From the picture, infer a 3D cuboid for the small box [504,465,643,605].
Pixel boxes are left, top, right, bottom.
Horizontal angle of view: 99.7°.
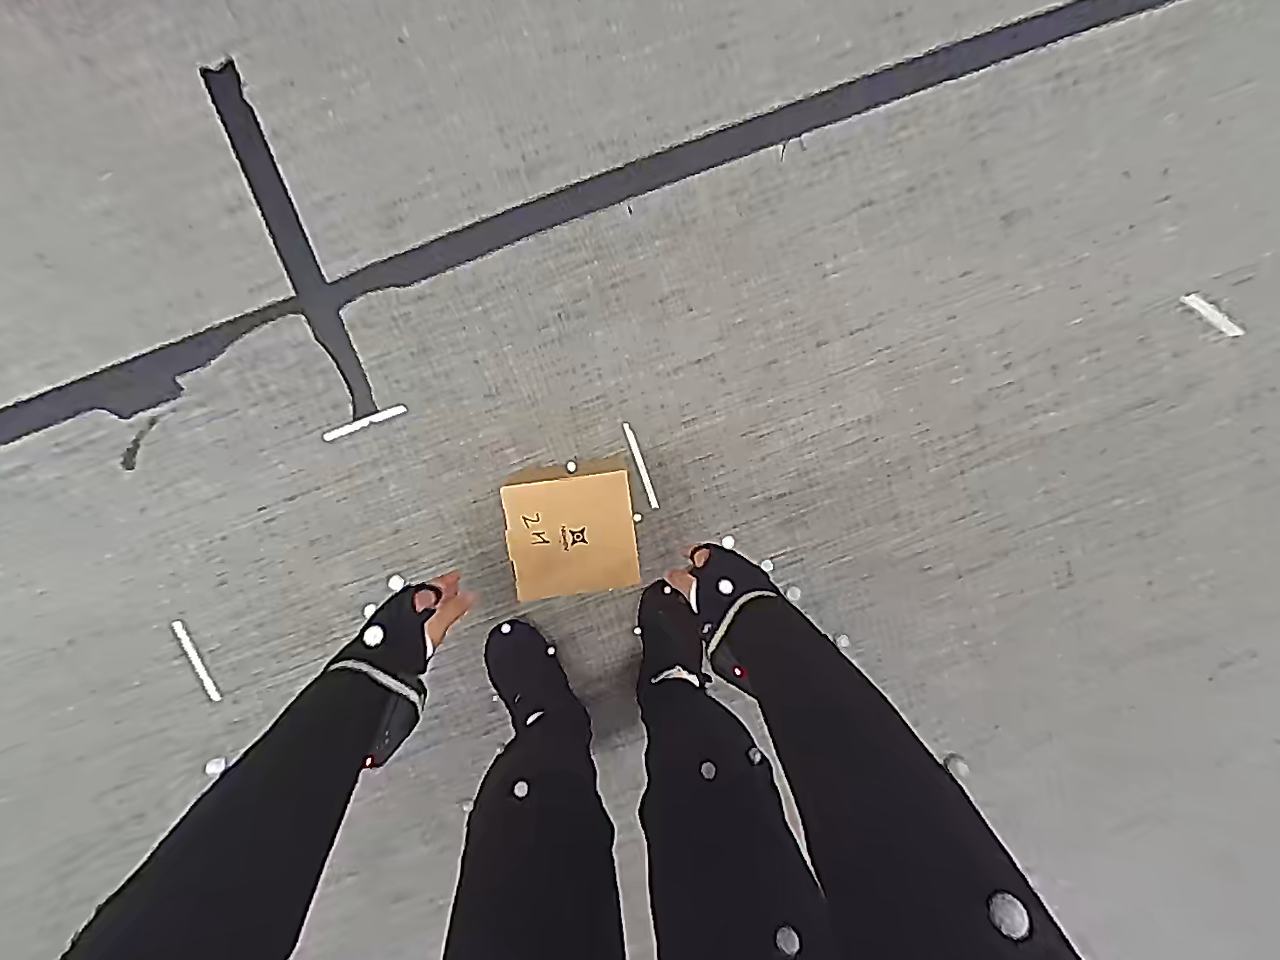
[{"bbox_3d":[-0.097,0.074,0.826,0.179,0.176,0.168,-7,99,-3],"label":"small box"}]
